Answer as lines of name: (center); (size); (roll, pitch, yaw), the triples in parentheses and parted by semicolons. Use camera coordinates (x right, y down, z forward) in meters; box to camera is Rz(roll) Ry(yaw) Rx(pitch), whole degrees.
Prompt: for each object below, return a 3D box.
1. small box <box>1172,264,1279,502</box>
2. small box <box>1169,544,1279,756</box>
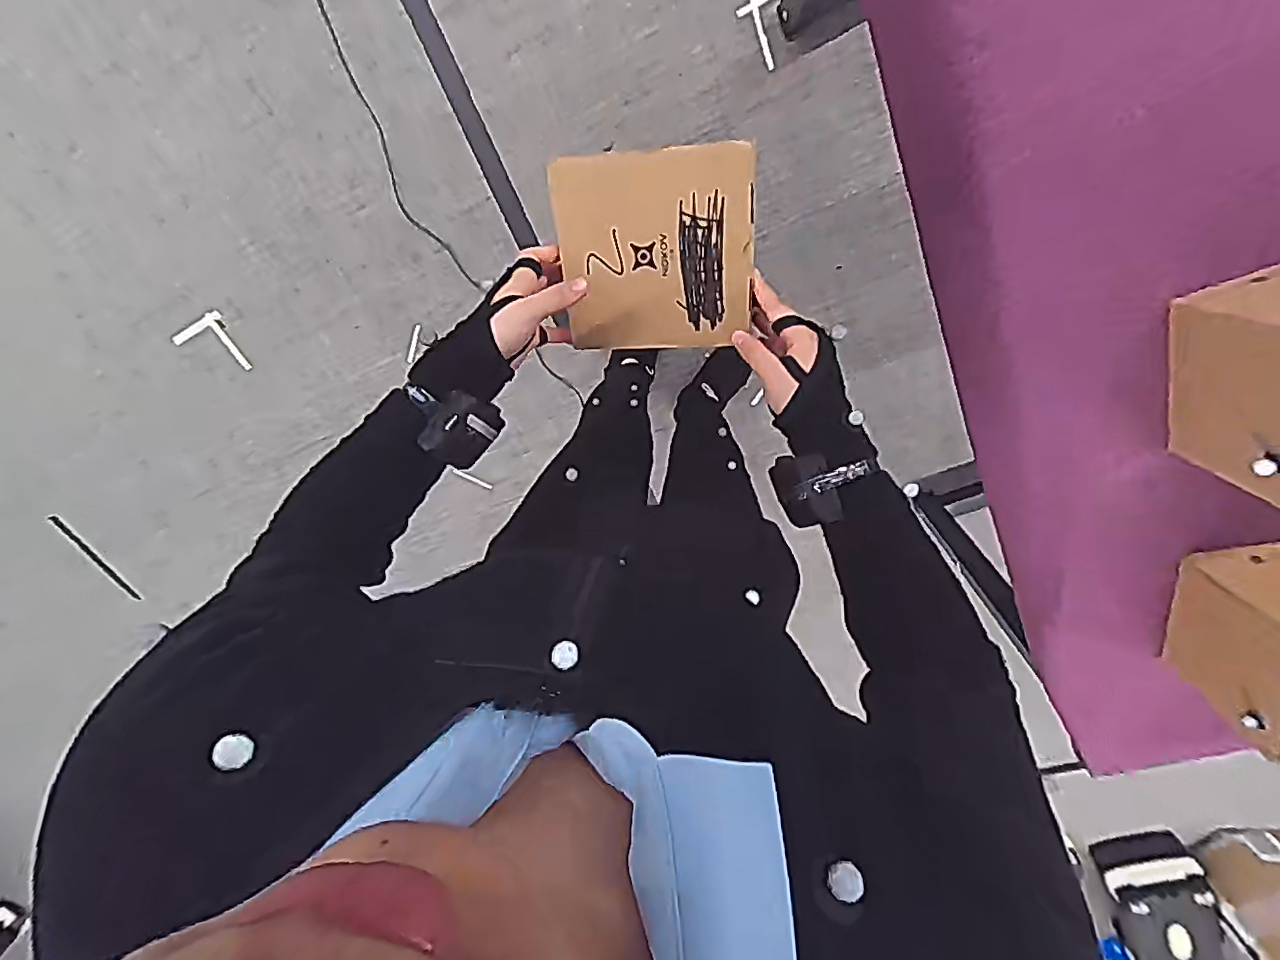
small box: (0.628, -0.094, 0.478); (0.168, 0.176, 0.179); (-18, 114, 13)
small box: (0.756, 0.182, 0.606); (0.168, 0.176, 0.179); (-11, 115, 11)
